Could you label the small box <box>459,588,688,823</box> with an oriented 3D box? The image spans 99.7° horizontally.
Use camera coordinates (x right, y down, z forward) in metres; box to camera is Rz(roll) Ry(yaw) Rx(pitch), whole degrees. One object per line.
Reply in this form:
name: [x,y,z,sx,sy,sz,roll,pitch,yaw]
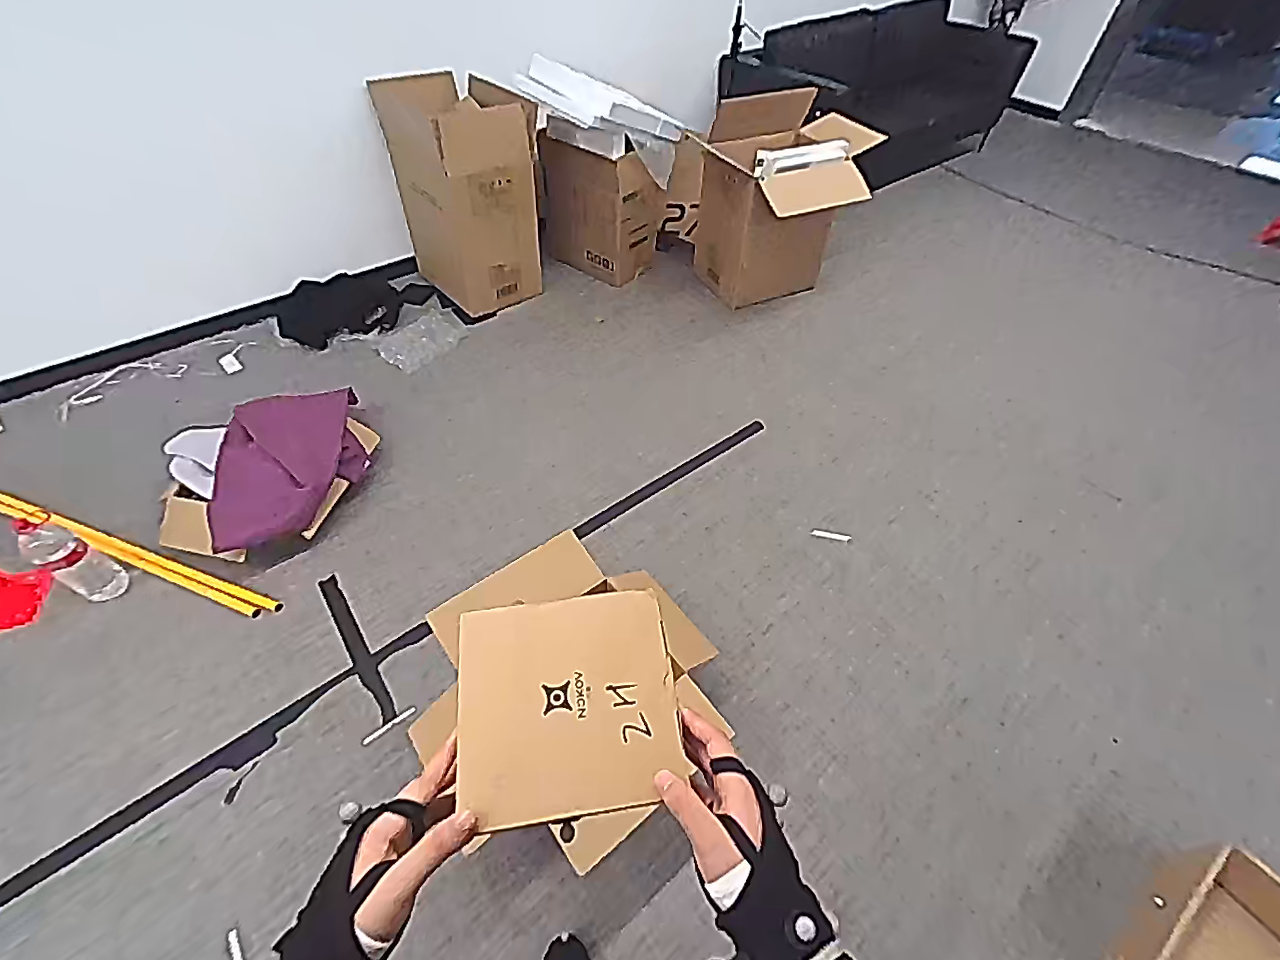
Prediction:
small box: [-0.062,0.218,0.513,0.179,0.176,0.168,-6,59,-7]
